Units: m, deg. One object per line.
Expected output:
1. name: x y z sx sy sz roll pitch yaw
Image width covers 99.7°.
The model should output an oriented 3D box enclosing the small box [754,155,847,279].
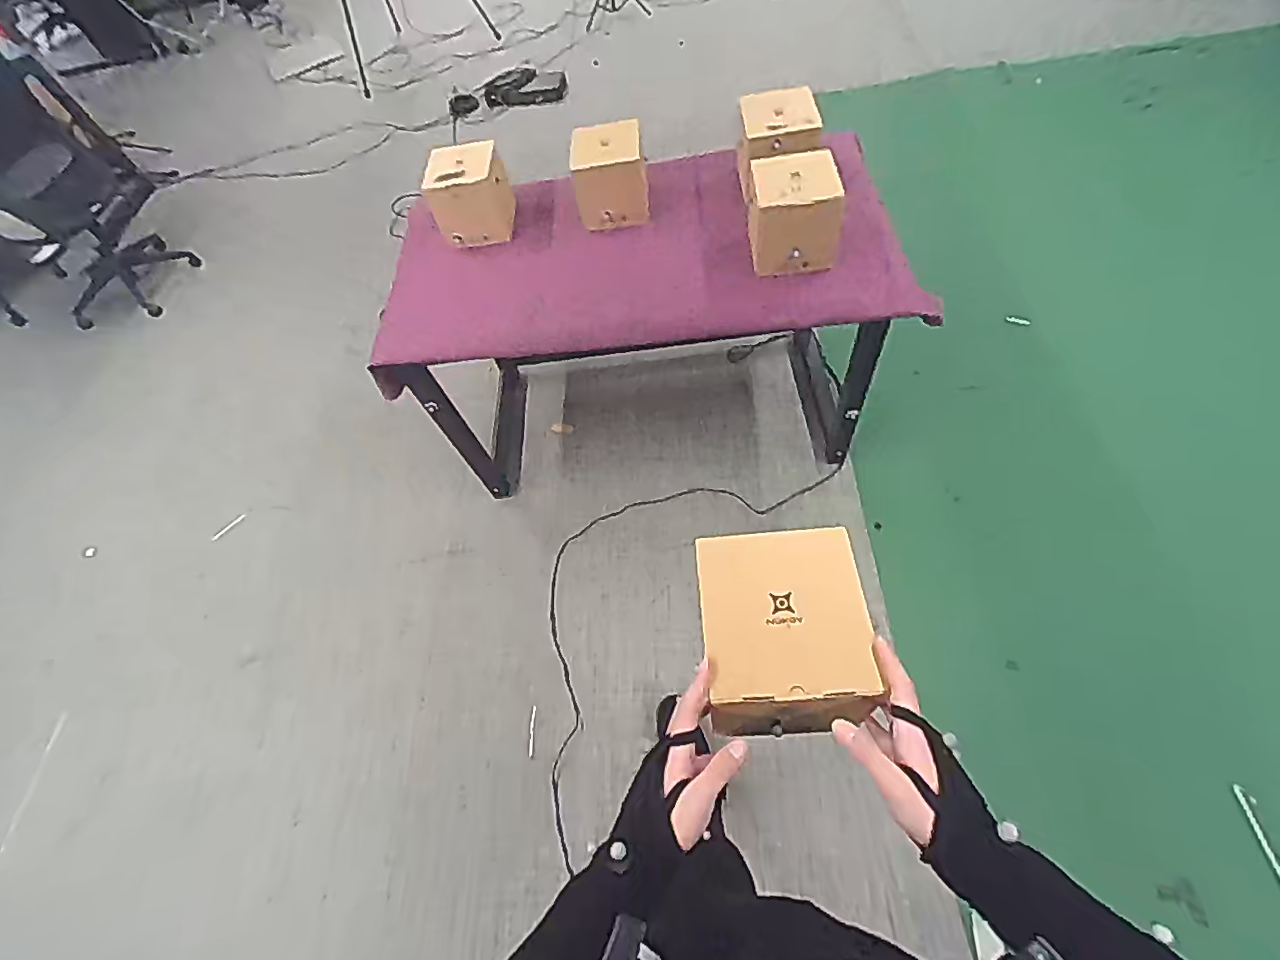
1. small box: 0.336 -0.562 1.166 0.168 0.176 0.179 -4 58 9

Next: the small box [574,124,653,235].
1. small box: -0.059 -0.743 1.344 0.168 0.176 0.179 -4 60 8

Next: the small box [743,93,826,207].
1. small box: 0.339 -0.787 1.301 0.168 0.176 0.179 -5 59 7

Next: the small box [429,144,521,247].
1. small box: -0.414 -0.719 1.386 0.168 0.176 0.179 -5 59 6
